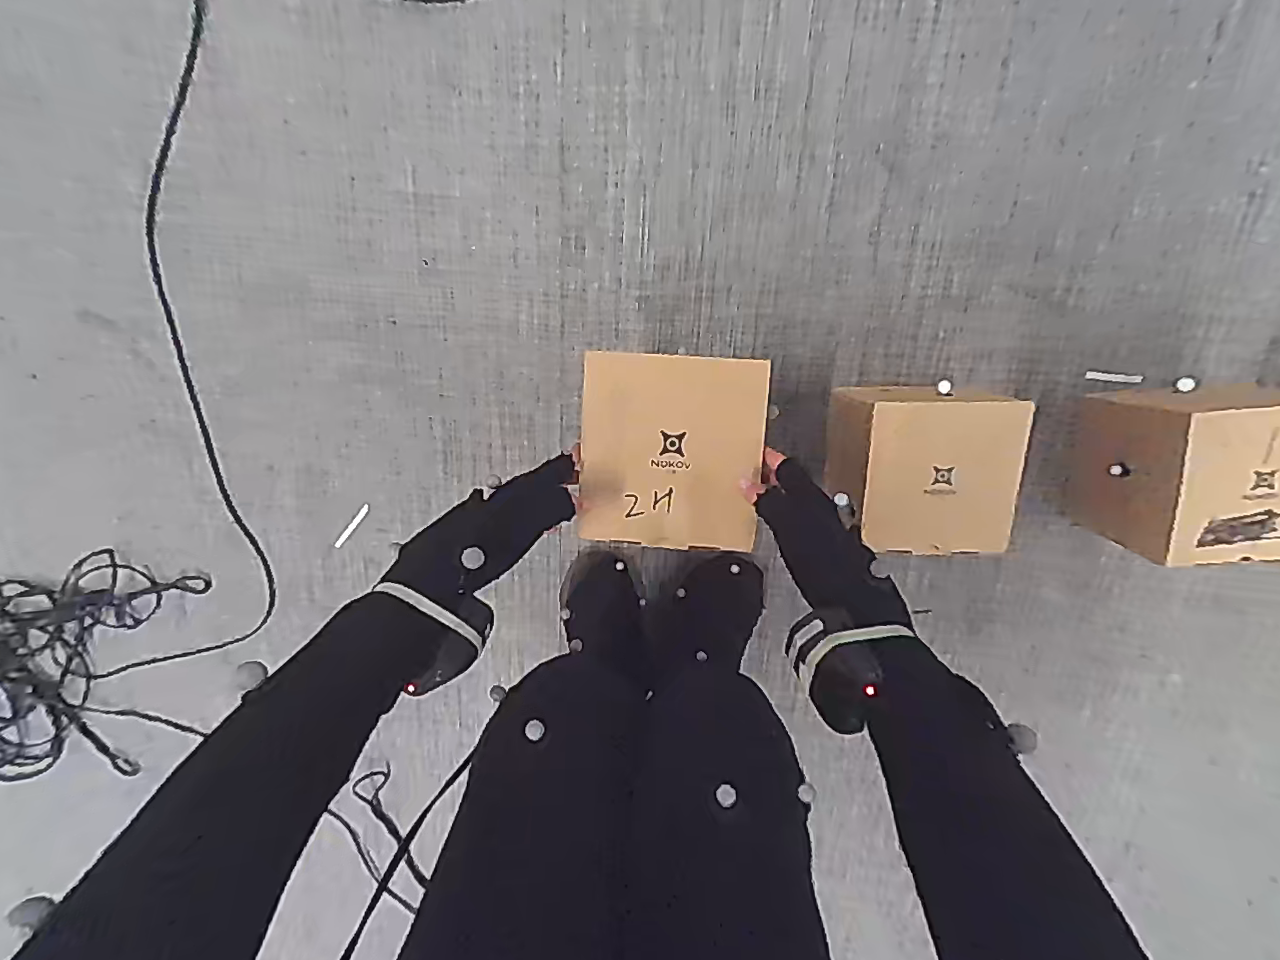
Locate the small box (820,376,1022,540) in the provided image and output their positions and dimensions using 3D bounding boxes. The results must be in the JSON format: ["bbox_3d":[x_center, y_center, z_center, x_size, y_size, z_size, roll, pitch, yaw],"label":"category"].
[{"bbox_3d":[0.329,-0.037,0.674,0.168,0.176,0.179,0,107,5],"label":"small box"}]

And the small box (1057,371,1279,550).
[{"bbox_3d":[0.646,-0.031,0.651,0.168,0.176,0.179,-4,105,5],"label":"small box"}]

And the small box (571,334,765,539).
[{"bbox_3d":[0.026,-0.048,0.559,0.168,0.176,0.179,3,99,3],"label":"small box"}]
